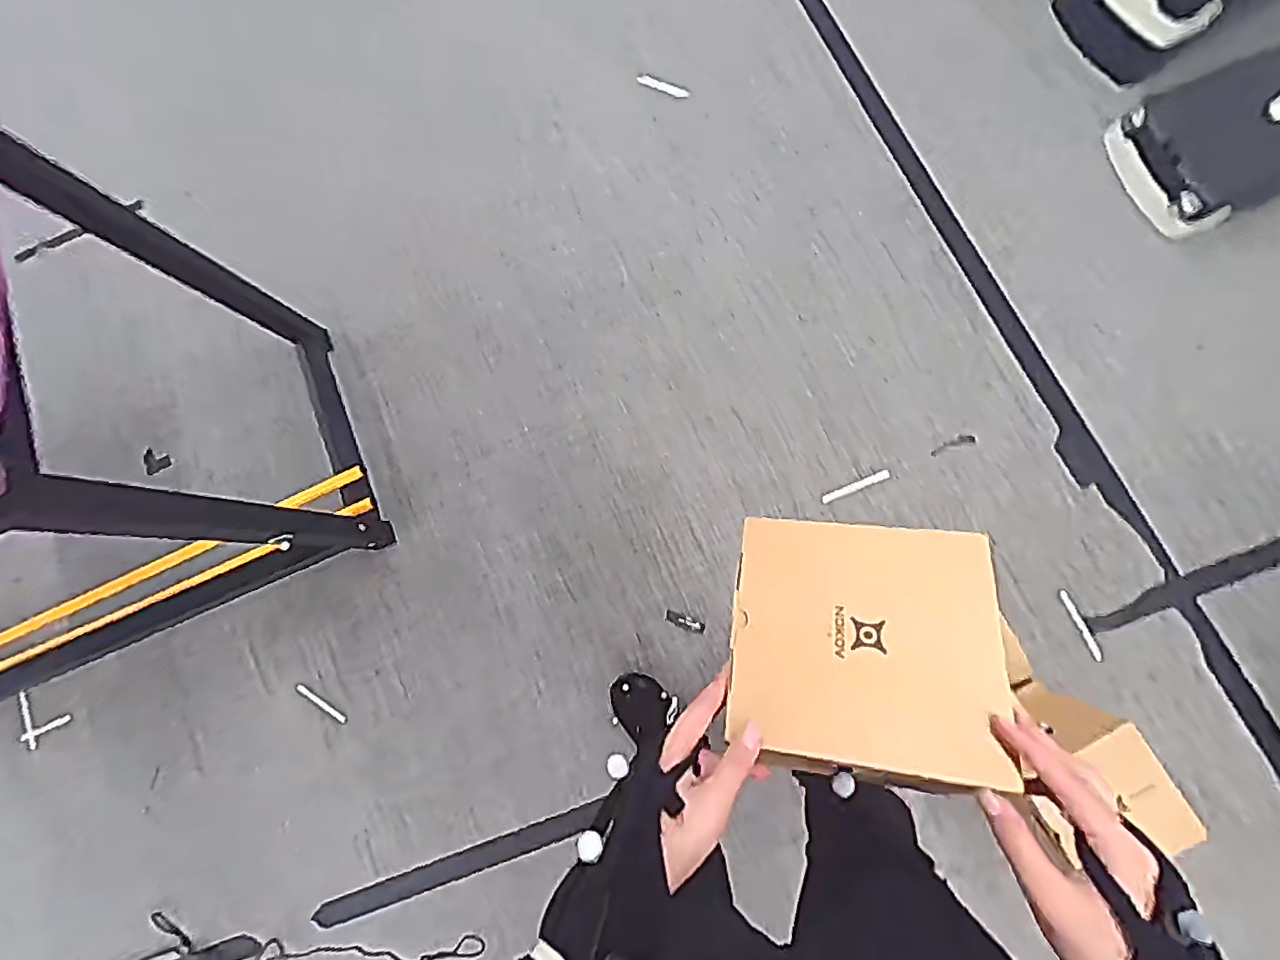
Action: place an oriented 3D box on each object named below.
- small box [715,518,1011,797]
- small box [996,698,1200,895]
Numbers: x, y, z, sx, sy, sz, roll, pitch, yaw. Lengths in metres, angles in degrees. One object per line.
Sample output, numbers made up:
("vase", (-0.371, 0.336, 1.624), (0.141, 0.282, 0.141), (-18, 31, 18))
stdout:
("small box", (0.161, 0.144, 0.438), (0.179, 0.176, 0.168), (3, 62, 15))
("small box", (0.636, 0.454, 0.807), (0.179, 0.176, 0.168), (-28, 80, 1))
